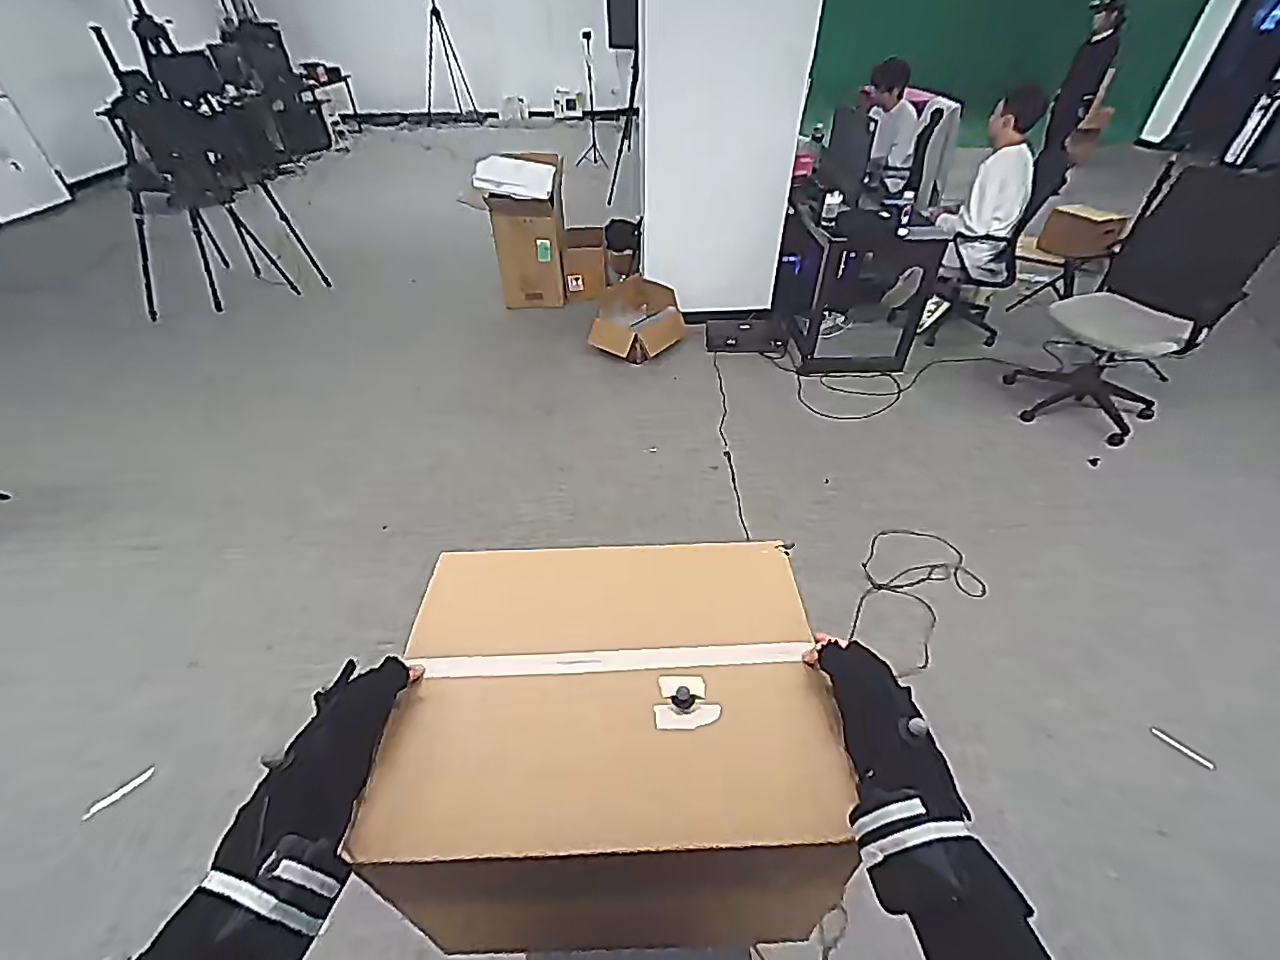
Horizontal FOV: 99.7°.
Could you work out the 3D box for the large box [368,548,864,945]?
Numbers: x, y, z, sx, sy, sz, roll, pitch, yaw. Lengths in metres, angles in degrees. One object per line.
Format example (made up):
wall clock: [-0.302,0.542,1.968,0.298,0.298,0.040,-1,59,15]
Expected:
large box: [-0.021,0.301,0.632,0.408,0.320,0.320,-1,39,0]
